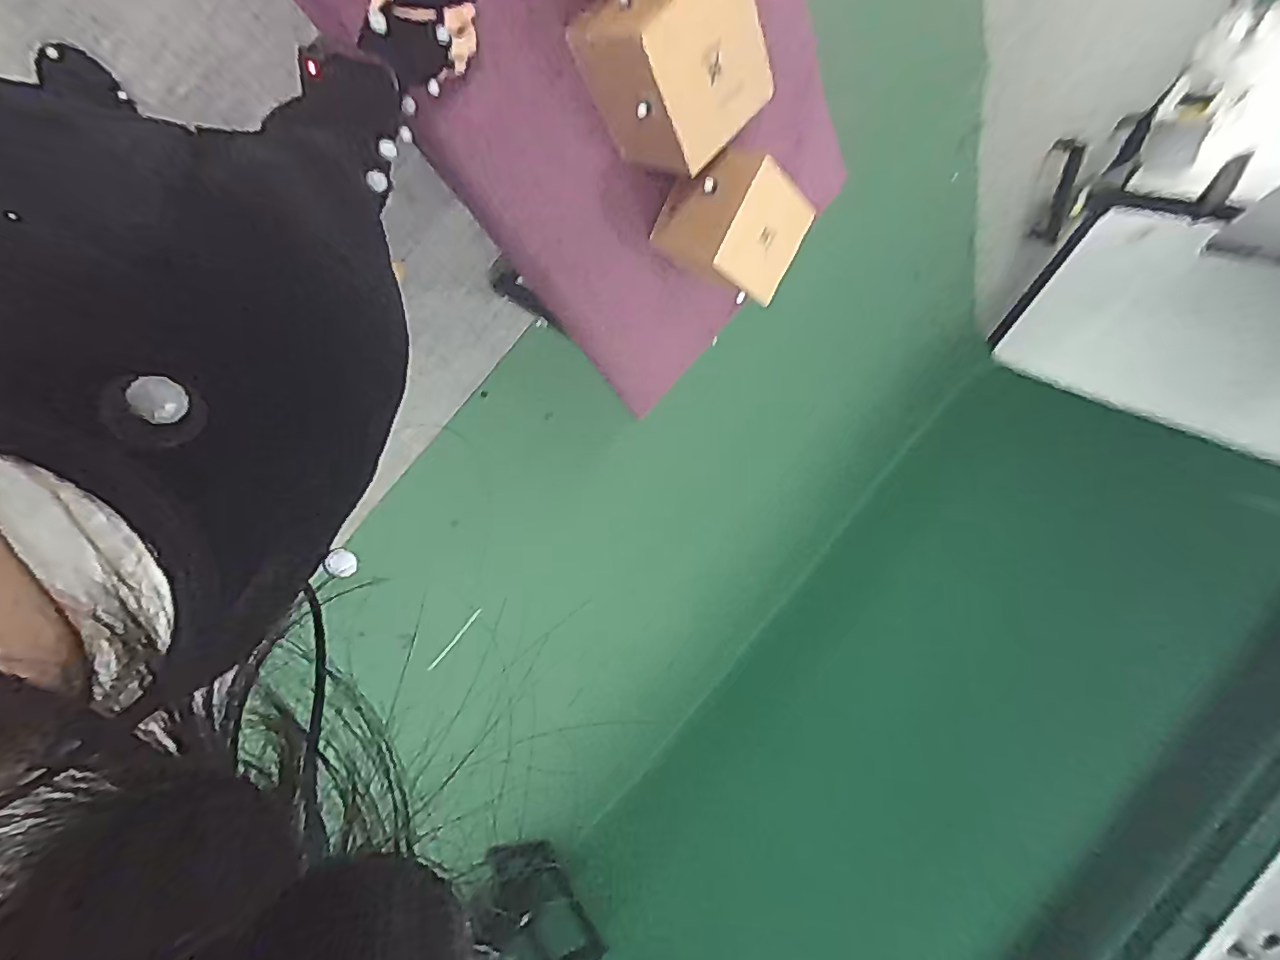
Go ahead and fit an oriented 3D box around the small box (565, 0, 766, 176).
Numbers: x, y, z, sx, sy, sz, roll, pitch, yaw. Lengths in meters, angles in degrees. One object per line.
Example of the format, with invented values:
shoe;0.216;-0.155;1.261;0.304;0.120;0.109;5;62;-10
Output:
small box;0.033;-0.538;0.709;0.168;0.176;0.179;-47;141;-5

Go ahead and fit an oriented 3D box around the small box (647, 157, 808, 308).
small box;0.142;-0.418;0.910;0.179;0.176;0.168;12;110;-49
